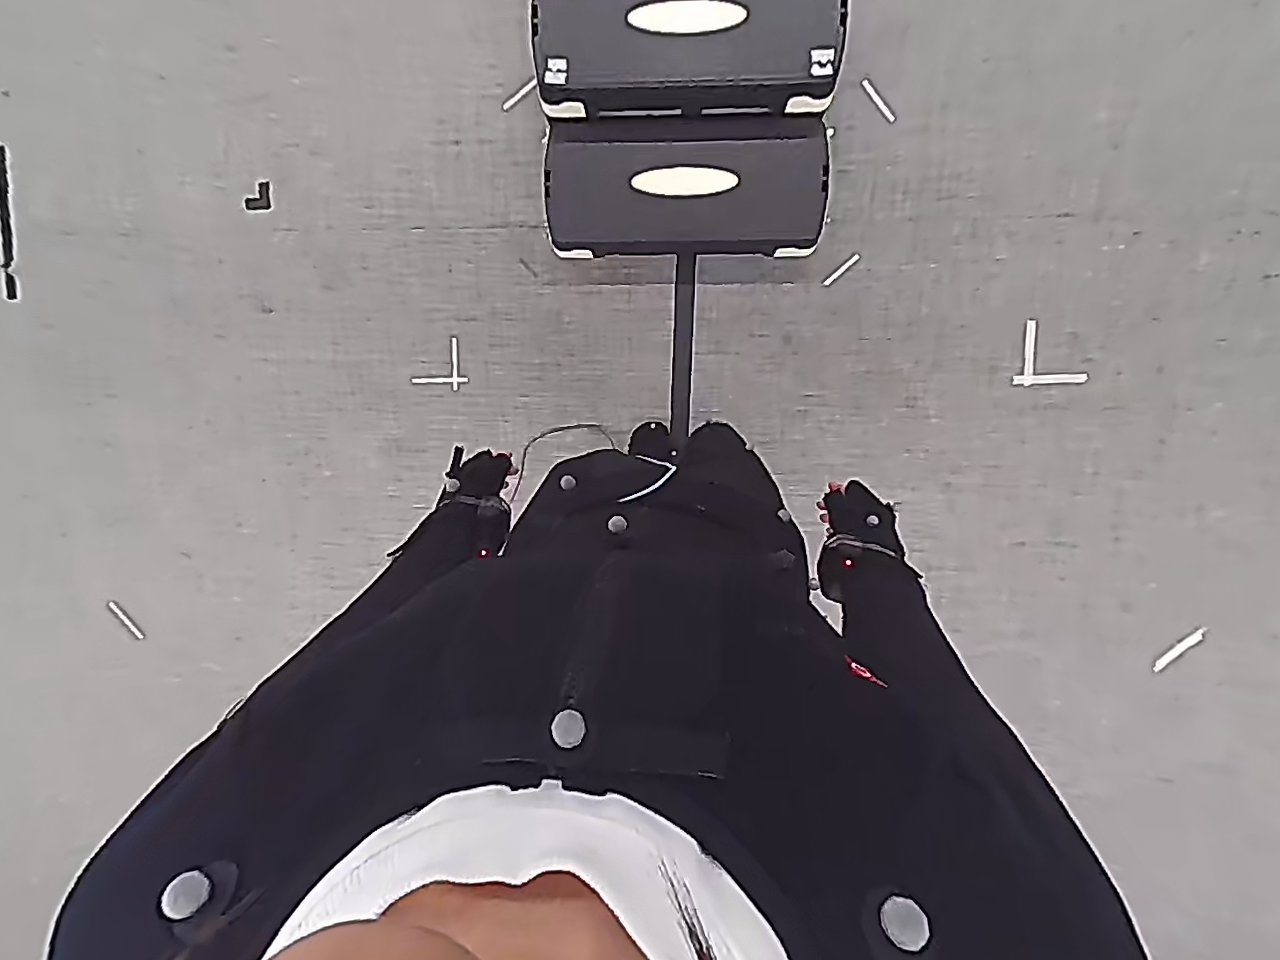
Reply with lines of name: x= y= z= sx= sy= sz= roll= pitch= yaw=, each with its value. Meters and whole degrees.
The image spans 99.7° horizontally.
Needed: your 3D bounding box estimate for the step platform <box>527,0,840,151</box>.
step platform: x=0.091 y=-0.952 z=1.226 sx=0.684 sy=0.204 sz=0.286 roll=0 pitch=97 yaw=3
